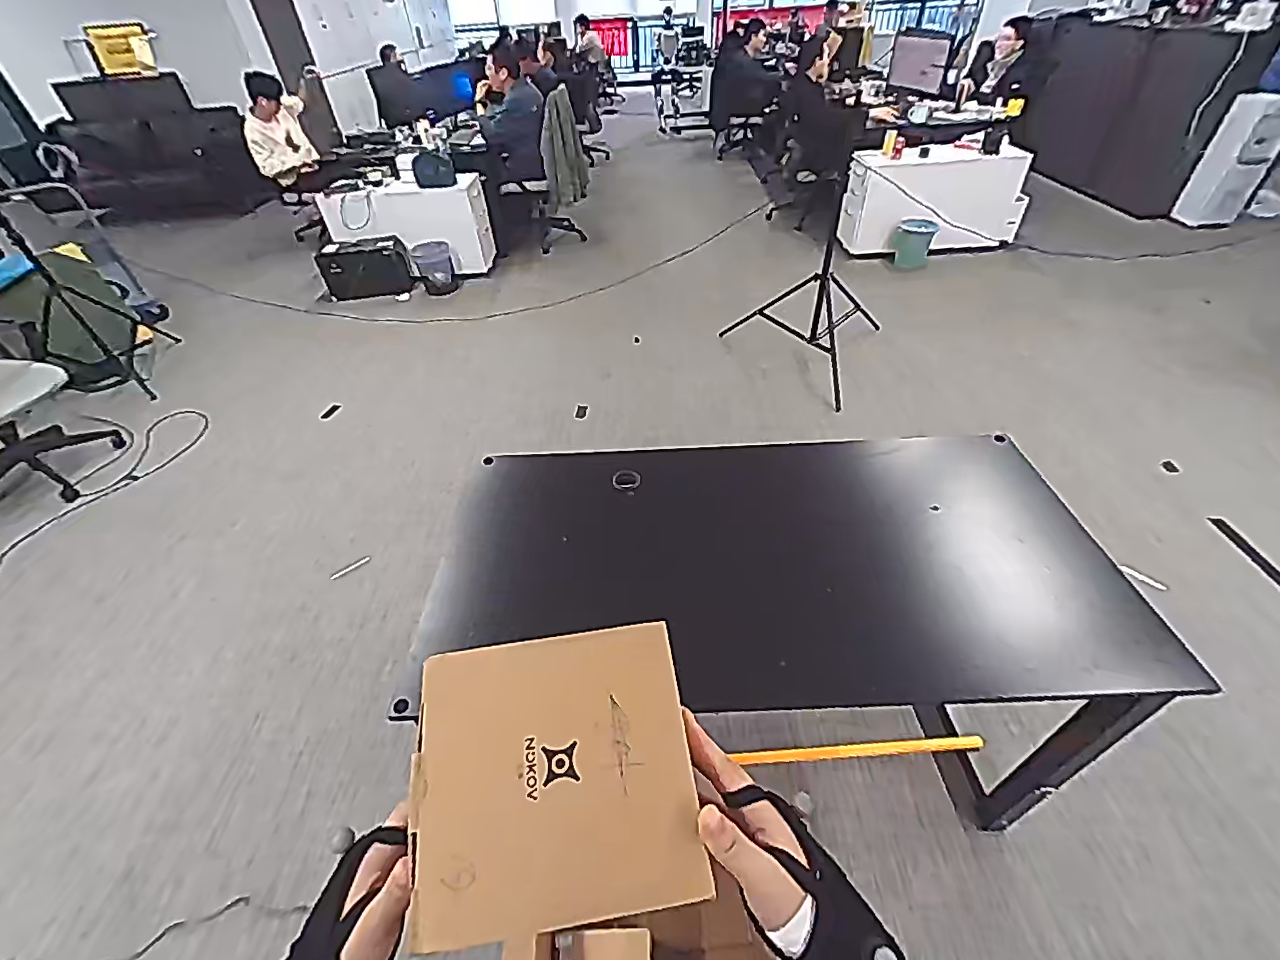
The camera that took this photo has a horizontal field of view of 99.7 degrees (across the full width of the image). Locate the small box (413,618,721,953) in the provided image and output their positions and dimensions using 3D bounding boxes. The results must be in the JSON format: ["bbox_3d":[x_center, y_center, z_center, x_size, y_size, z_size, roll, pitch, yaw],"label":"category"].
[{"bbox_3d":[-0.051,0.221,0.408,0.179,0.176,0.168,-8,59,-6],"label":"small box"}]
